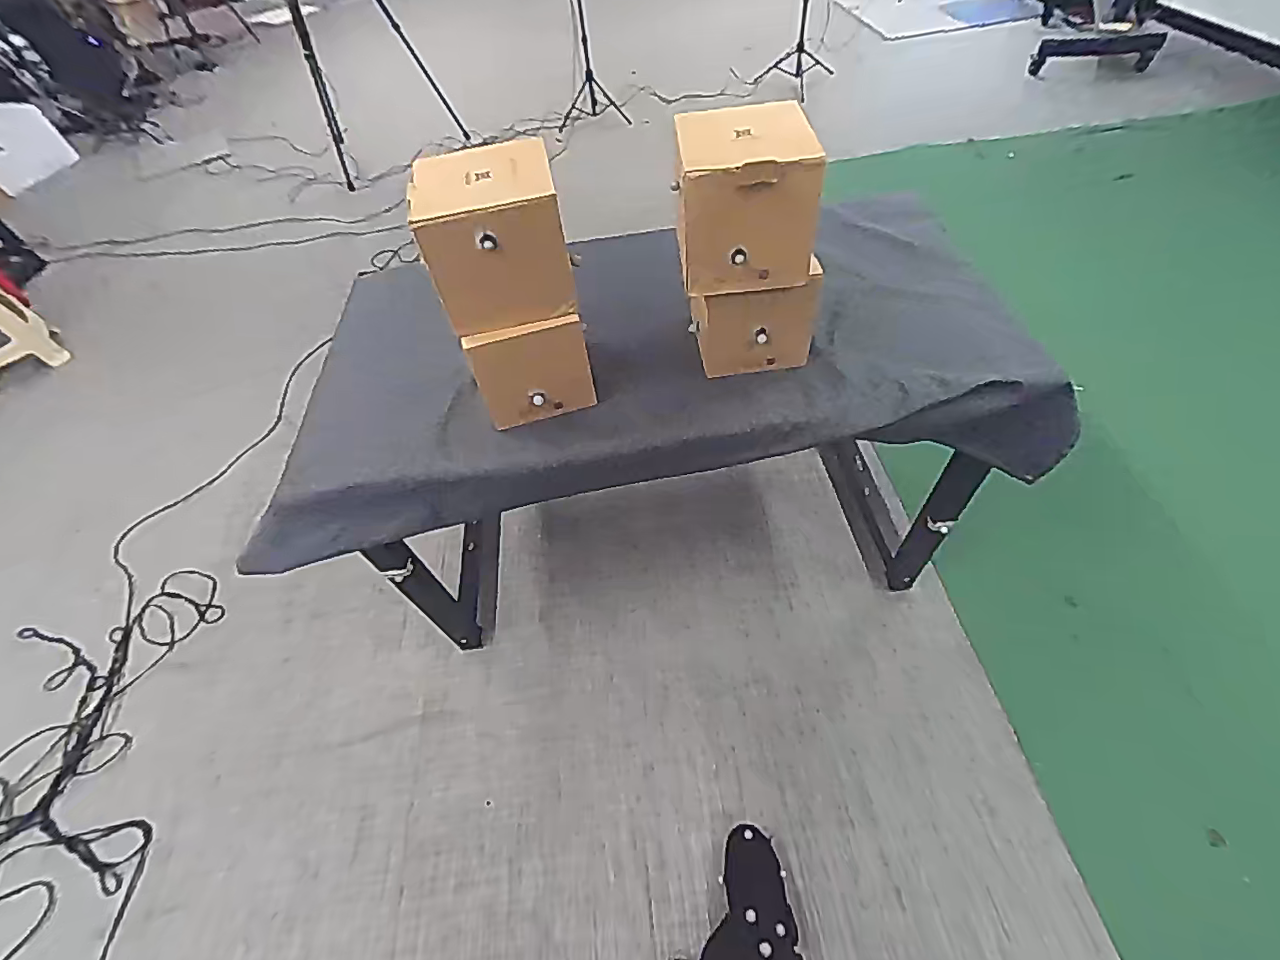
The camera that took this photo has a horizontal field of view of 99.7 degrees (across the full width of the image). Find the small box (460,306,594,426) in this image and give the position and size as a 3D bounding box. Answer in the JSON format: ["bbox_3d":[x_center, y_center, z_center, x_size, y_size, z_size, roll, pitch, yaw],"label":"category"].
[{"bbox_3d":[-0.179,-0.215,0.851,0.168,0.176,0.179,-16,54,-6],"label":"small box"}]

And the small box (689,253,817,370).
[{"bbox_3d":[0.171,-0.294,0.874,0.168,0.176,0.179,-8,53,1],"label":"small box"}]

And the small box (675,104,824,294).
[{"bbox_3d":[0.134,-0.379,0.737,0.168,0.176,0.179,-5,53,2],"label":"small box"}]

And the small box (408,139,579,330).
[{"bbox_3d":[-0.191,-0.325,0.731,0.179,0.176,0.168,-12,54,-4],"label":"small box"}]
